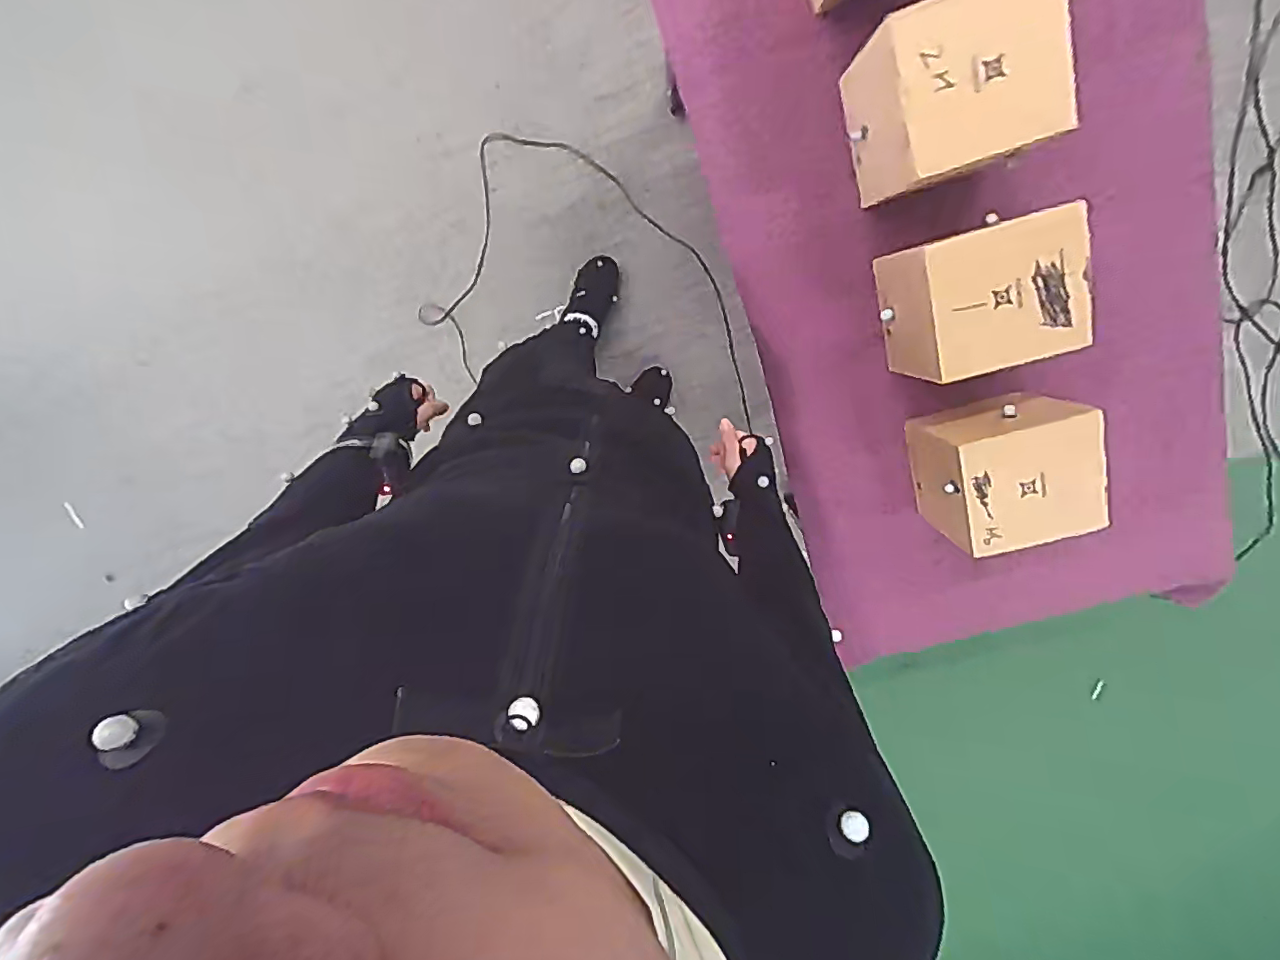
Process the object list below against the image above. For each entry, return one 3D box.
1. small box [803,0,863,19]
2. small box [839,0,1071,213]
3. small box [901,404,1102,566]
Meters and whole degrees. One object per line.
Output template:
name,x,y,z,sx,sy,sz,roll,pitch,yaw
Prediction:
small box,0.268,-0.666,0.587,0.179,0.176,0.168,-21,104,9
small box,0.364,-0.443,0.649,0.179,0.176,0.168,-16,105,7
small box,0.506,-0.002,0.775,0.179,0.176,0.168,-15,105,6
